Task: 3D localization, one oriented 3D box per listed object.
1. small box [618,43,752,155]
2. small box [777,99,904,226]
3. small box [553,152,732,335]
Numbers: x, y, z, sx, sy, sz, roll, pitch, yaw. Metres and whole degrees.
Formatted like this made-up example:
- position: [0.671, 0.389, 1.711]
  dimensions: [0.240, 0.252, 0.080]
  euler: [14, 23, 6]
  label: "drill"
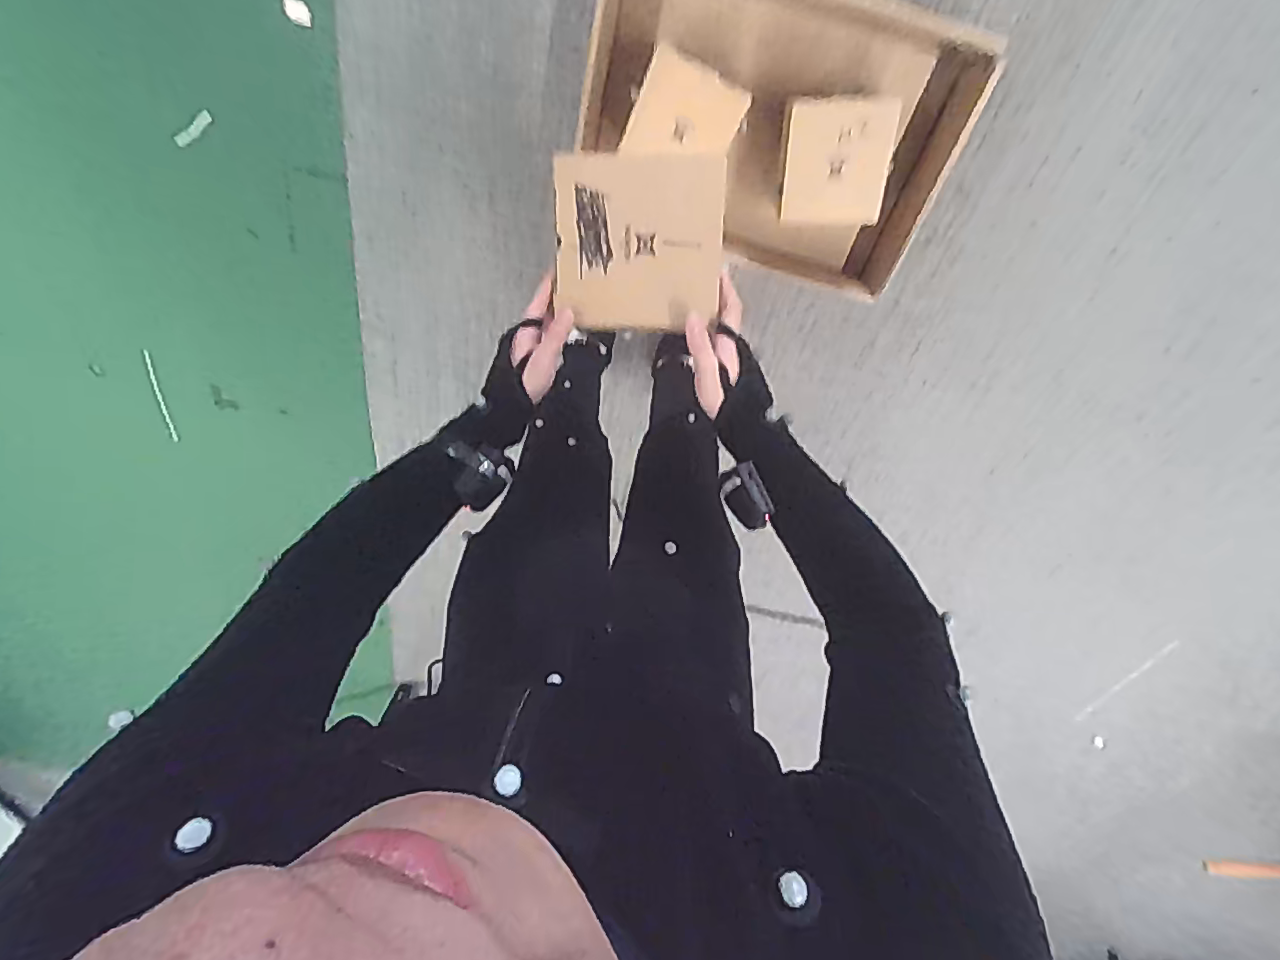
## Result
- position: [0.079, -0.614, 0.943]
  dimensions: [0.168, 0.176, 0.179]
  euler: [25, 124, -9]
  label: "small box"
- position: [0.335, -0.555, 0.942]
  dimensions: [0.168, 0.176, 0.179]
  euler: [4, 126, 7]
  label: "small box"
- position: [0.005, -0.256, 0.620]
  dimensions: [0.179, 0.176, 0.168]
  euler: [2, 104, 3]
  label: "small box"
